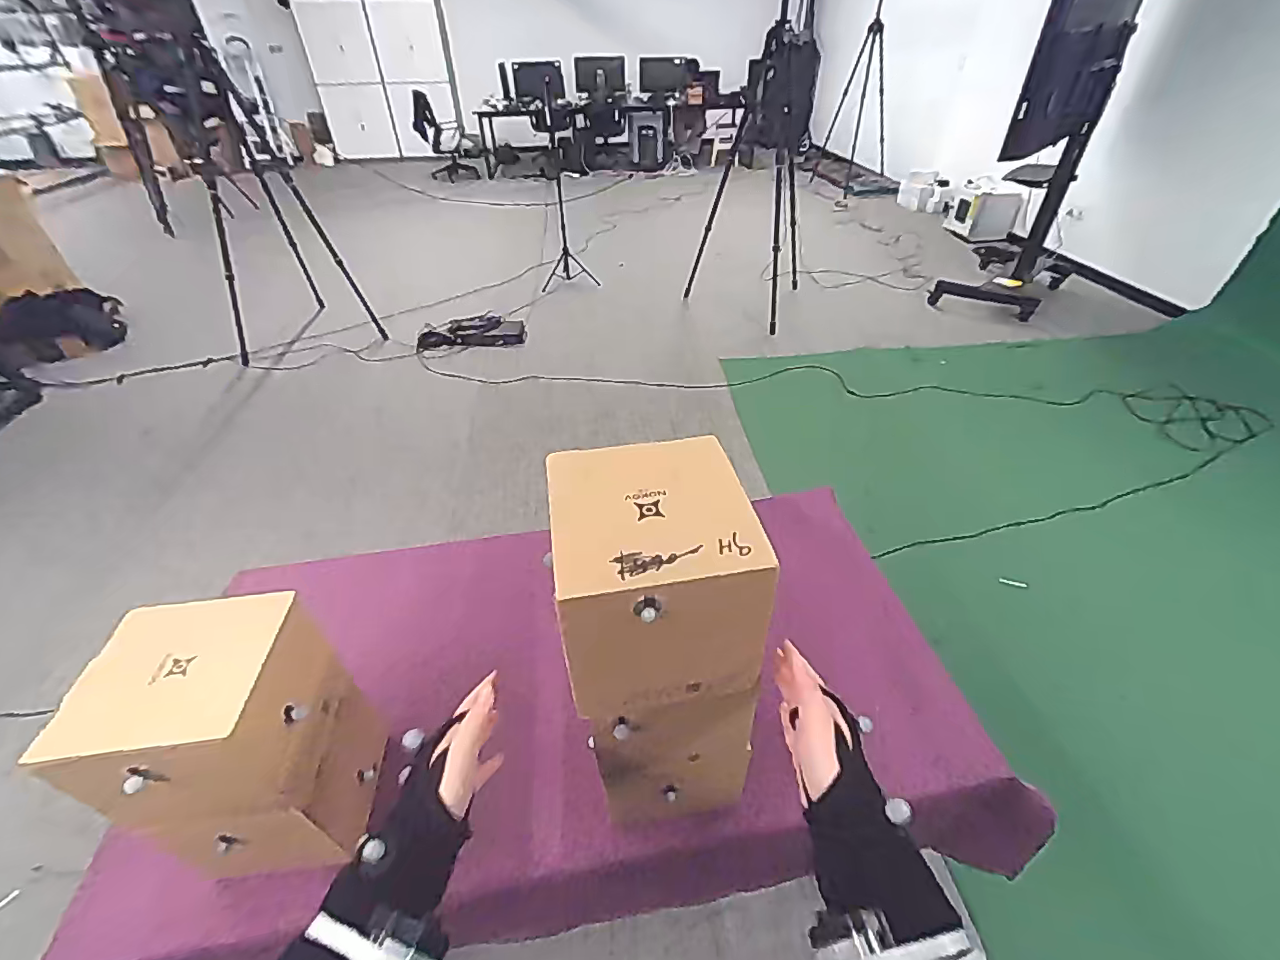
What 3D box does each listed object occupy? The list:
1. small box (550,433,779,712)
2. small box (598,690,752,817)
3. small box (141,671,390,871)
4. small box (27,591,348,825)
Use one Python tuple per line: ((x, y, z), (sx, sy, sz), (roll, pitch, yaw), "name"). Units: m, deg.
((0.011, 0.080, 0.497), (0.168, 0.176, 0.179), (-8, 39, -6), "small box")
((0.036, 0.322, 0.720), (0.179, 0.176, 0.168), (-6, 40, -4), "small box")
((-0.447, 0.368, 0.684), (0.179, 0.176, 0.168), (-5, 41, -4), "small box")
((-0.447, 0.243, 0.580), (0.179, 0.176, 0.168), (-6, 40, -4), "small box")
